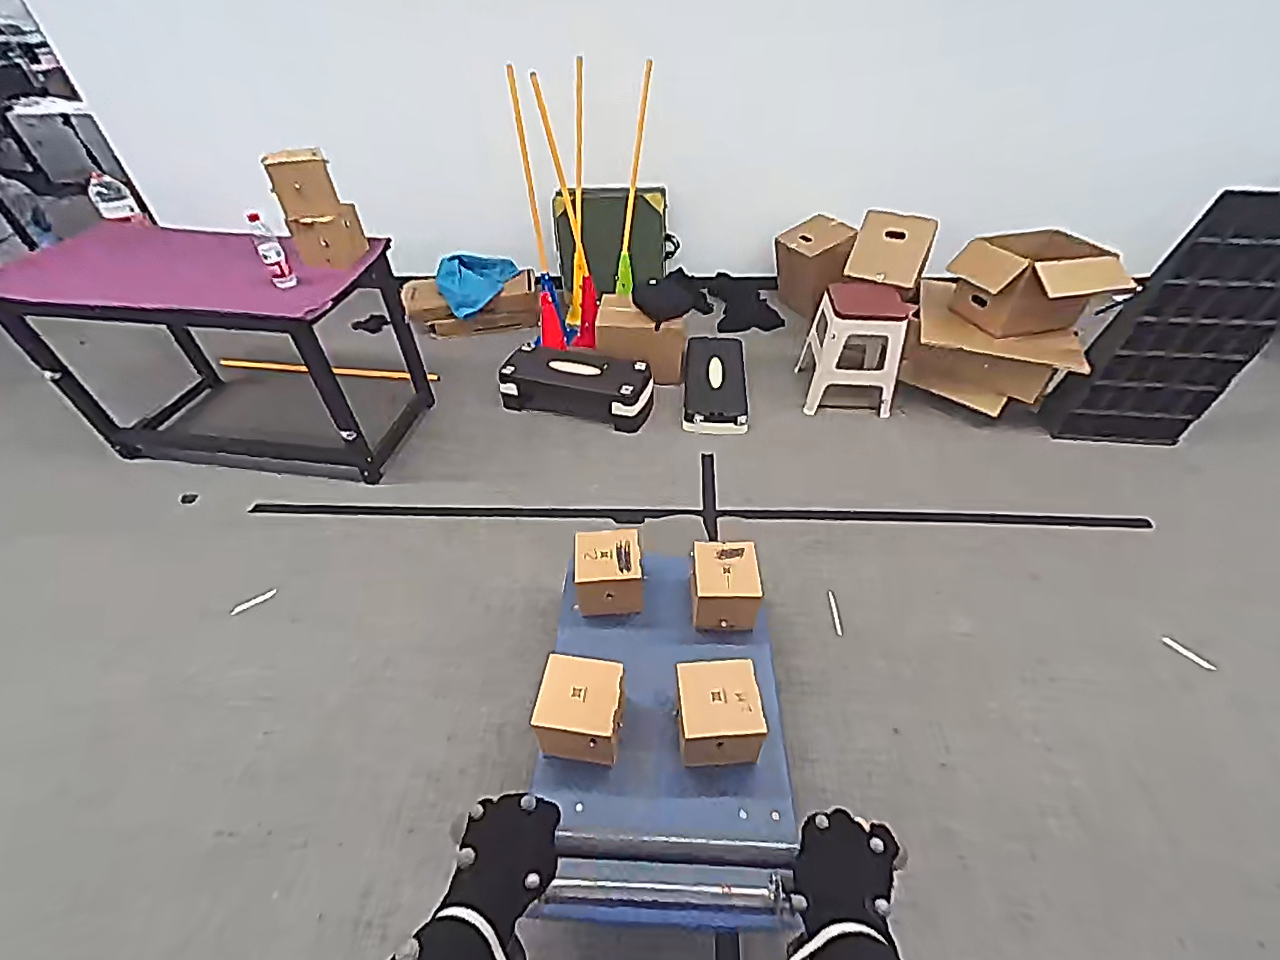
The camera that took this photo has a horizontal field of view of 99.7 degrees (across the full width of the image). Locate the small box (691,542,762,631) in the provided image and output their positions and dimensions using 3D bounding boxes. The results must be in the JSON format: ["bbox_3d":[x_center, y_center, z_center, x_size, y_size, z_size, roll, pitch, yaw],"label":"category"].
[{"bbox_3d":[0.228,0.289,1.474,0.168,0.176,0.179,0,46,1],"label":"small box"}]

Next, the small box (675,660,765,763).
[{"bbox_3d":[0.173,0.529,1.231,0.179,0.176,0.168,-3,45,-1],"label":"small box"}]

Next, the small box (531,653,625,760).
[{"bbox_3d":[-0.134,0.522,1.242,0.179,0.176,0.168,7,45,5],"label":"small box"}]
